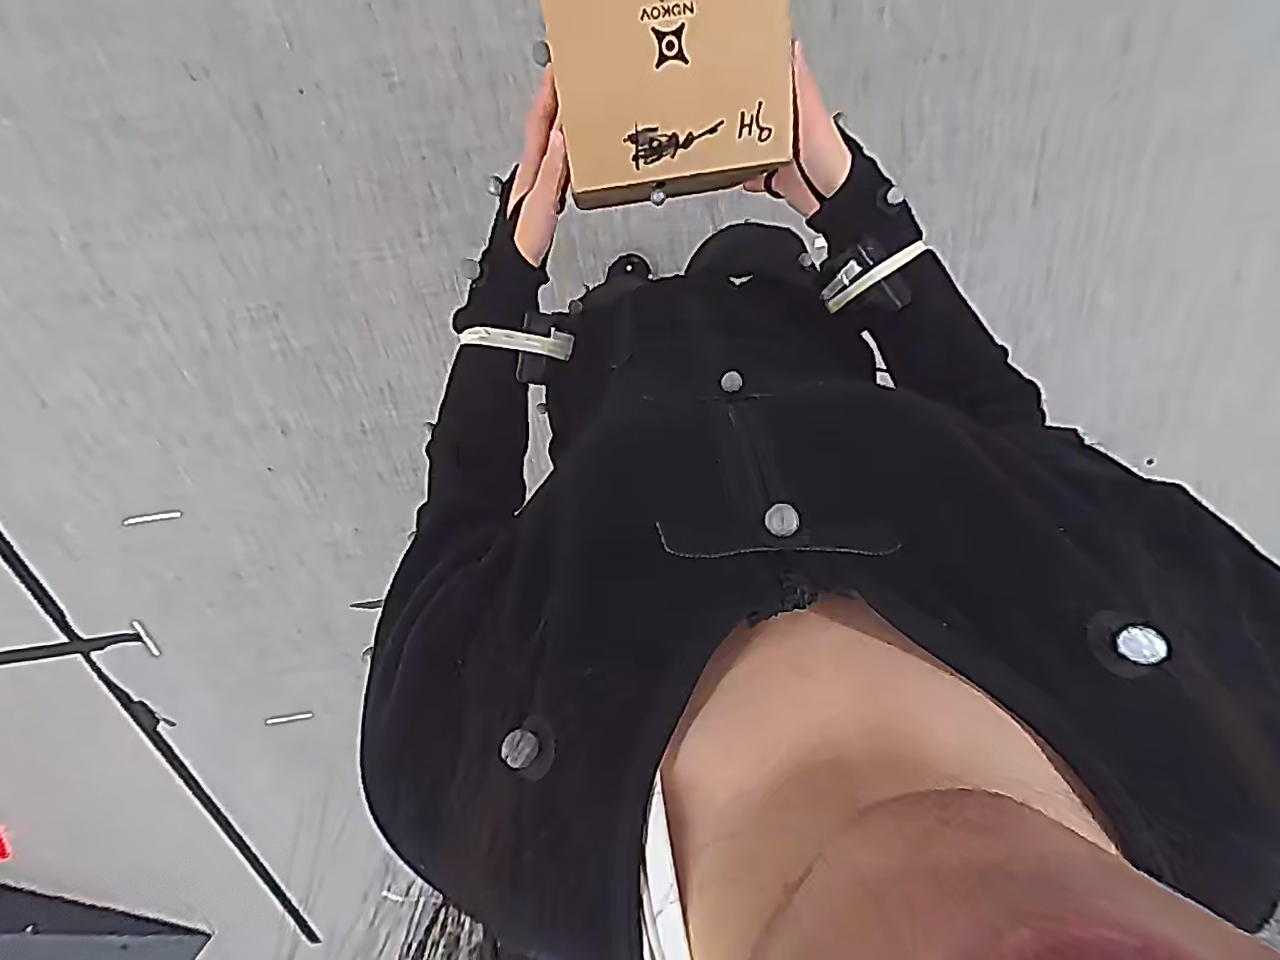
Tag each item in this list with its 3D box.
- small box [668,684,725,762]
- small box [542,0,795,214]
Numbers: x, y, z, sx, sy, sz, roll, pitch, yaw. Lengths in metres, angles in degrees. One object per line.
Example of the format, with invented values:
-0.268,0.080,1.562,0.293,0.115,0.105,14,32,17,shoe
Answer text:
0.198,0.853,1.906,0.168,0.176,0.179,-10,115,-1,small box
0.014,-0.327,0.435,0.168,0.176,0.179,-9,113,-2,small box
